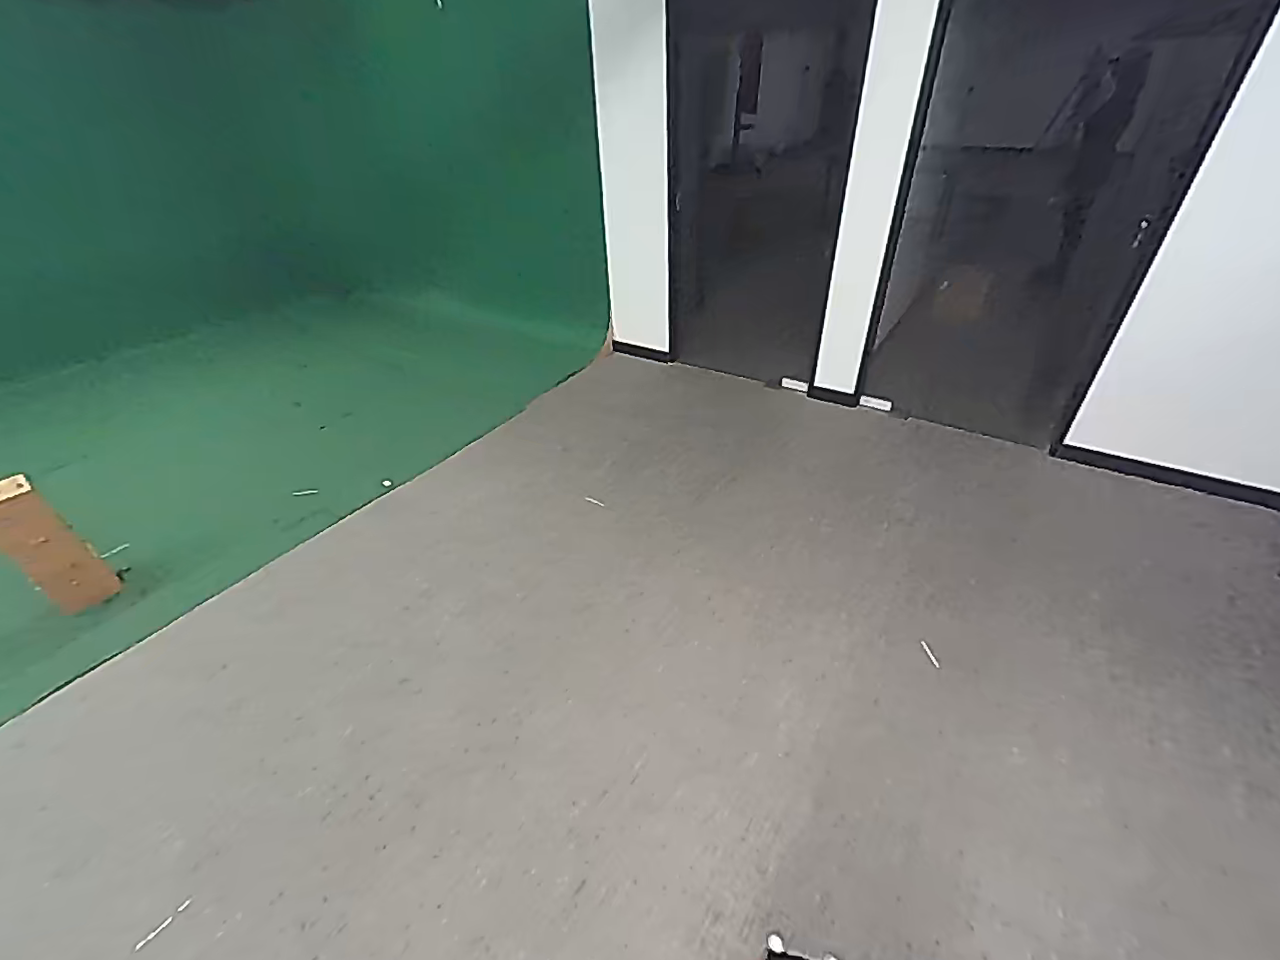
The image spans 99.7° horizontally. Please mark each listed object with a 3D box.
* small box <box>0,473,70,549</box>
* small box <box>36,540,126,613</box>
[{"bbox_3d":[-2.132,0.108,1.853,0.168,0.176,0.179,23,44,31],"label":"small box"},{"bbox_3d":[-2.112,0.366,2.054,0.168,0.176,0.179,24,44,31],"label":"small box"}]
